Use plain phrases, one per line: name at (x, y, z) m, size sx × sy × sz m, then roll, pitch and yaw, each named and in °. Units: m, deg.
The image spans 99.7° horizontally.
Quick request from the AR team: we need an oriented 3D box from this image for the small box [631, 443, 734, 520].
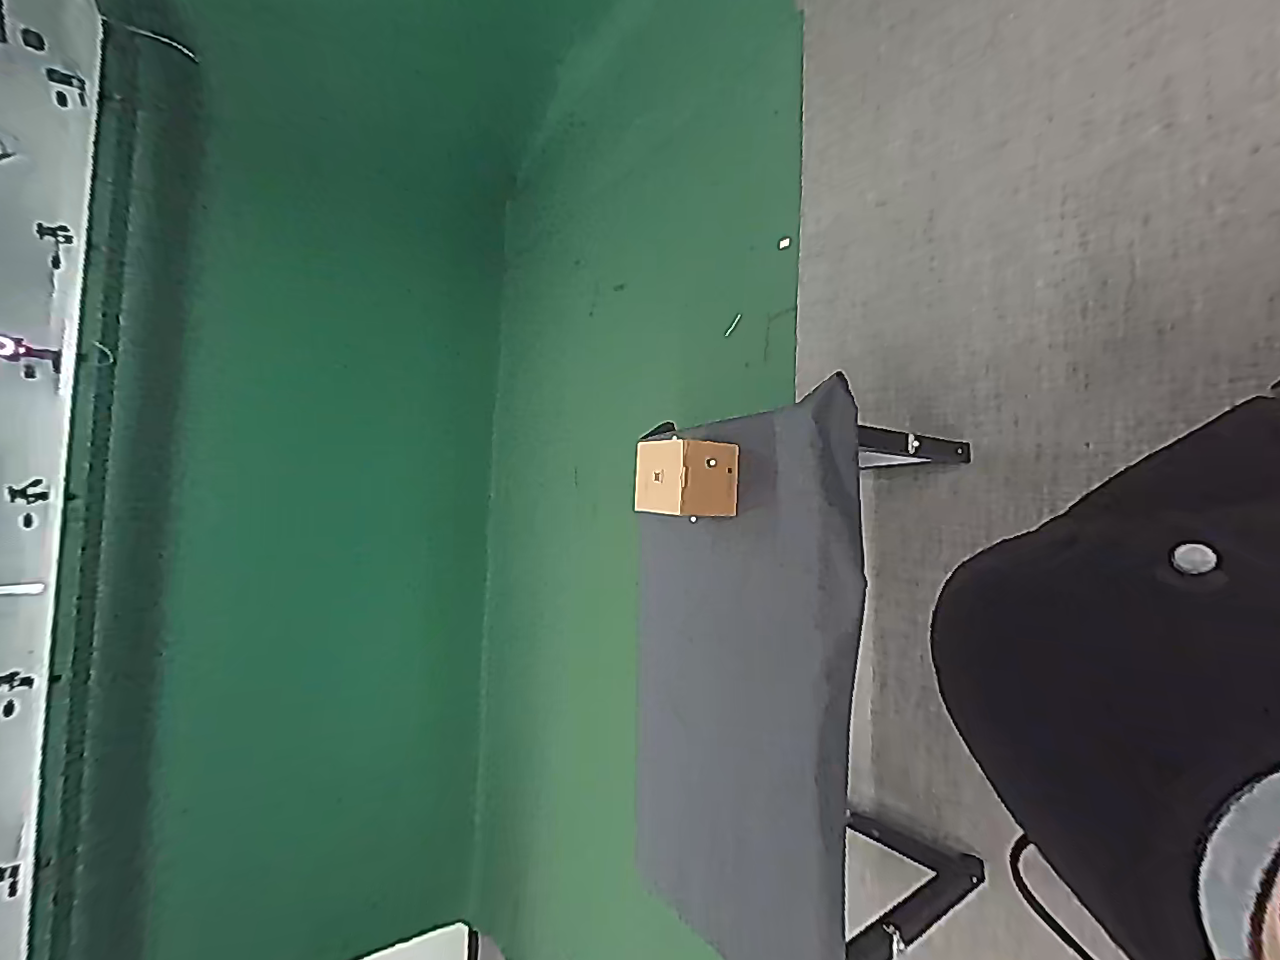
small box at (0.100, 0.005, 1.261) m, size 0.179 × 0.176 × 0.168 m, roll 0°, pitch 85°, yaw 56°
